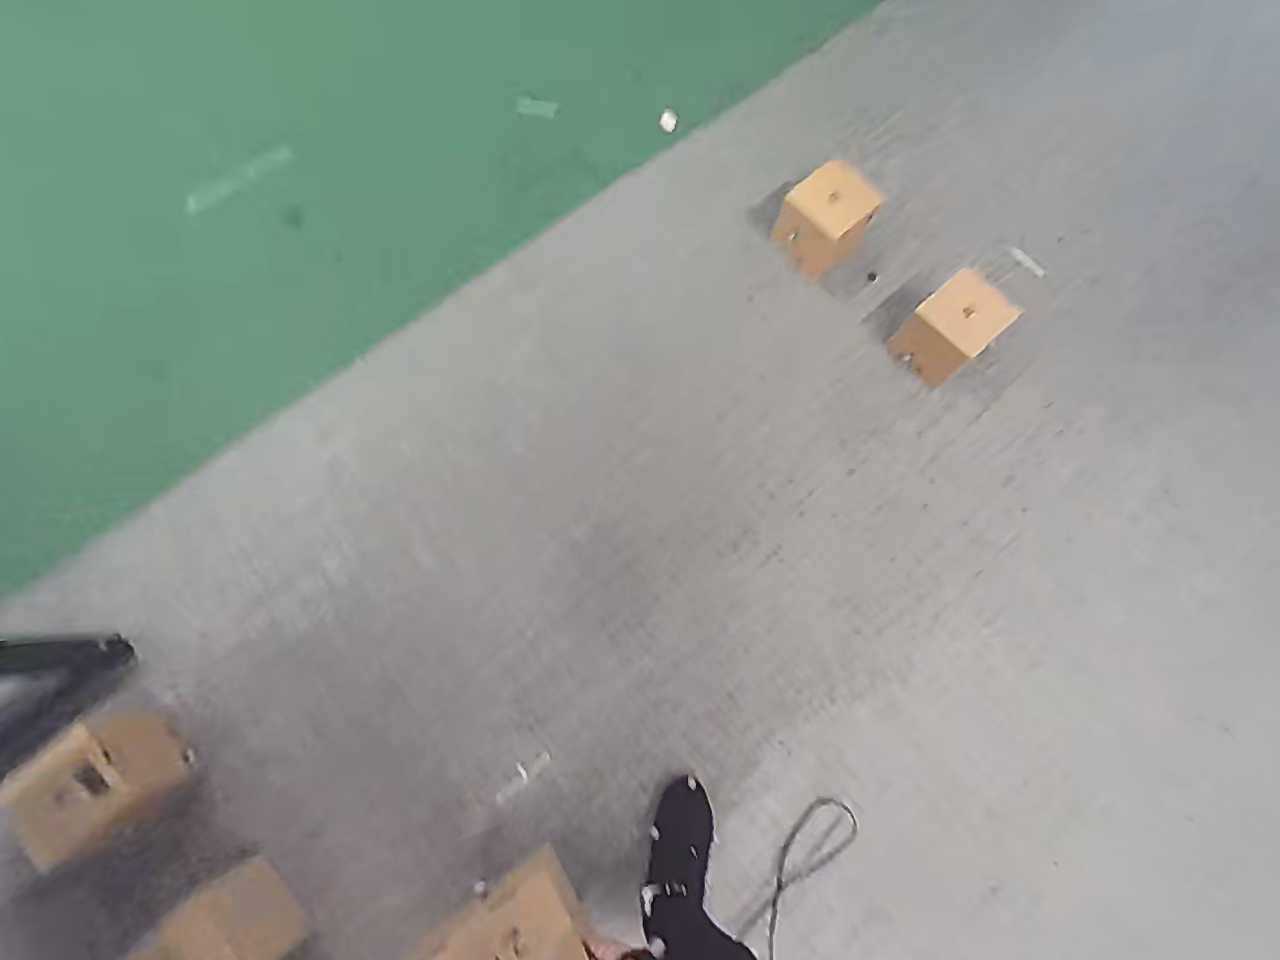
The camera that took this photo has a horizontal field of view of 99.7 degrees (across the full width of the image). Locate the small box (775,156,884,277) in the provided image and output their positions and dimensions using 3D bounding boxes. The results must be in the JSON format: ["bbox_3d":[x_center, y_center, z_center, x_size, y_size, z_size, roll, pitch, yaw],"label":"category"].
[{"bbox_3d":[0.456,-0.645,1.343,0.179,0.176,0.168,-41,79,-12],"label":"small box"}]

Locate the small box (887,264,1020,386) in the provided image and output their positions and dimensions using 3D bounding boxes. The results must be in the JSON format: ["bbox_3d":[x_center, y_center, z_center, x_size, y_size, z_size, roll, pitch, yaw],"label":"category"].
[{"bbox_3d":[0.724,-0.358,1.270,0.179,0.176,0.168,-41,79,-11],"label":"small box"}]

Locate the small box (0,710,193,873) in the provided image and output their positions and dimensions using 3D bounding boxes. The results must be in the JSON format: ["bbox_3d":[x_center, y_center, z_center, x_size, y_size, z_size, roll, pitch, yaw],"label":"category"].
[{"bbox_3d":[-0.980,0.554,0.993,0.179,0.176,0.168,-44,79,-10],"label":"small box"}]
